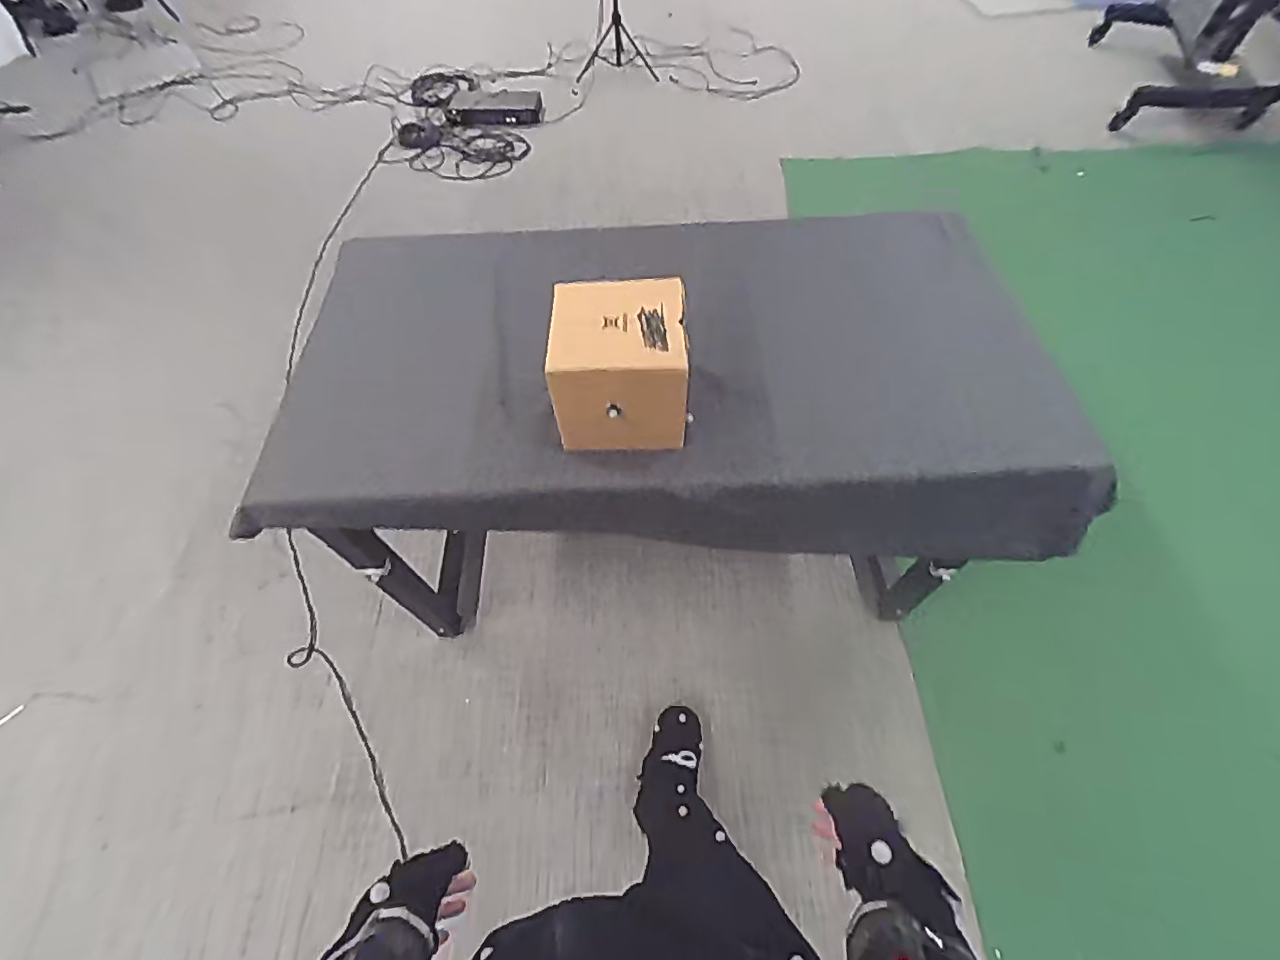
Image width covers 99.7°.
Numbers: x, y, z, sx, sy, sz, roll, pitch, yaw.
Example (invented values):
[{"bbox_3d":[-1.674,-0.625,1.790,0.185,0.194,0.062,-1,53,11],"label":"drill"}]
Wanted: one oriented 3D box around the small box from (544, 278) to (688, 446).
[{"bbox_3d":[-0.025,-0.161,0.763,0.179,0.176,0.168,2,56,3],"label":"small box"}]
